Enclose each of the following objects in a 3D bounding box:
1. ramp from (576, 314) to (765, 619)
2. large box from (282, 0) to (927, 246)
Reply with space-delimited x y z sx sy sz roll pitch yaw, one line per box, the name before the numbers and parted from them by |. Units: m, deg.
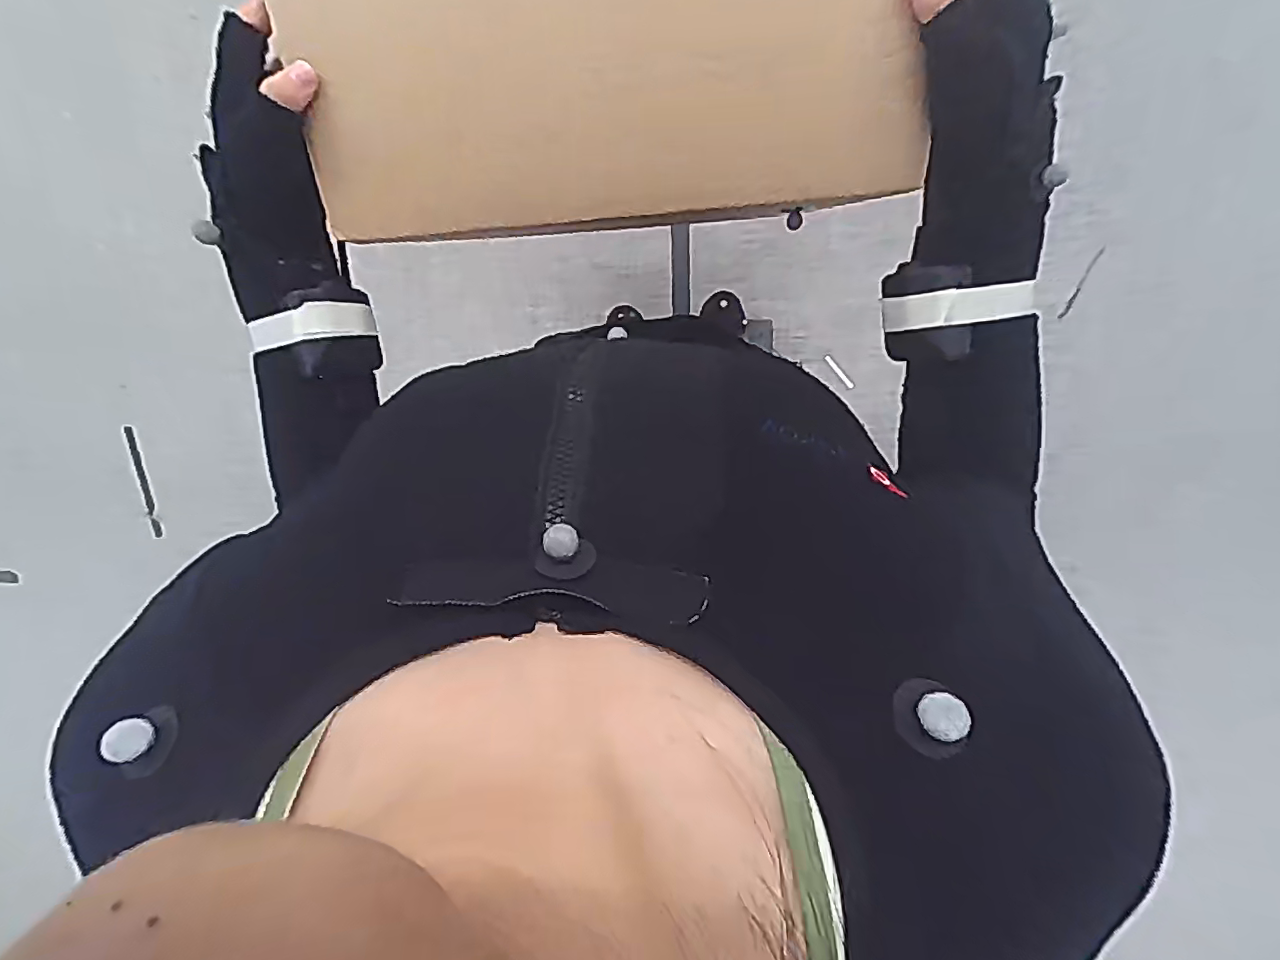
ramp | 0.110 0.026 1.609 0.509 0.206 0.991 -4 107 4
large box | -0.019 -0.385 0.453 0.408 0.320 0.320 -3 113 4
